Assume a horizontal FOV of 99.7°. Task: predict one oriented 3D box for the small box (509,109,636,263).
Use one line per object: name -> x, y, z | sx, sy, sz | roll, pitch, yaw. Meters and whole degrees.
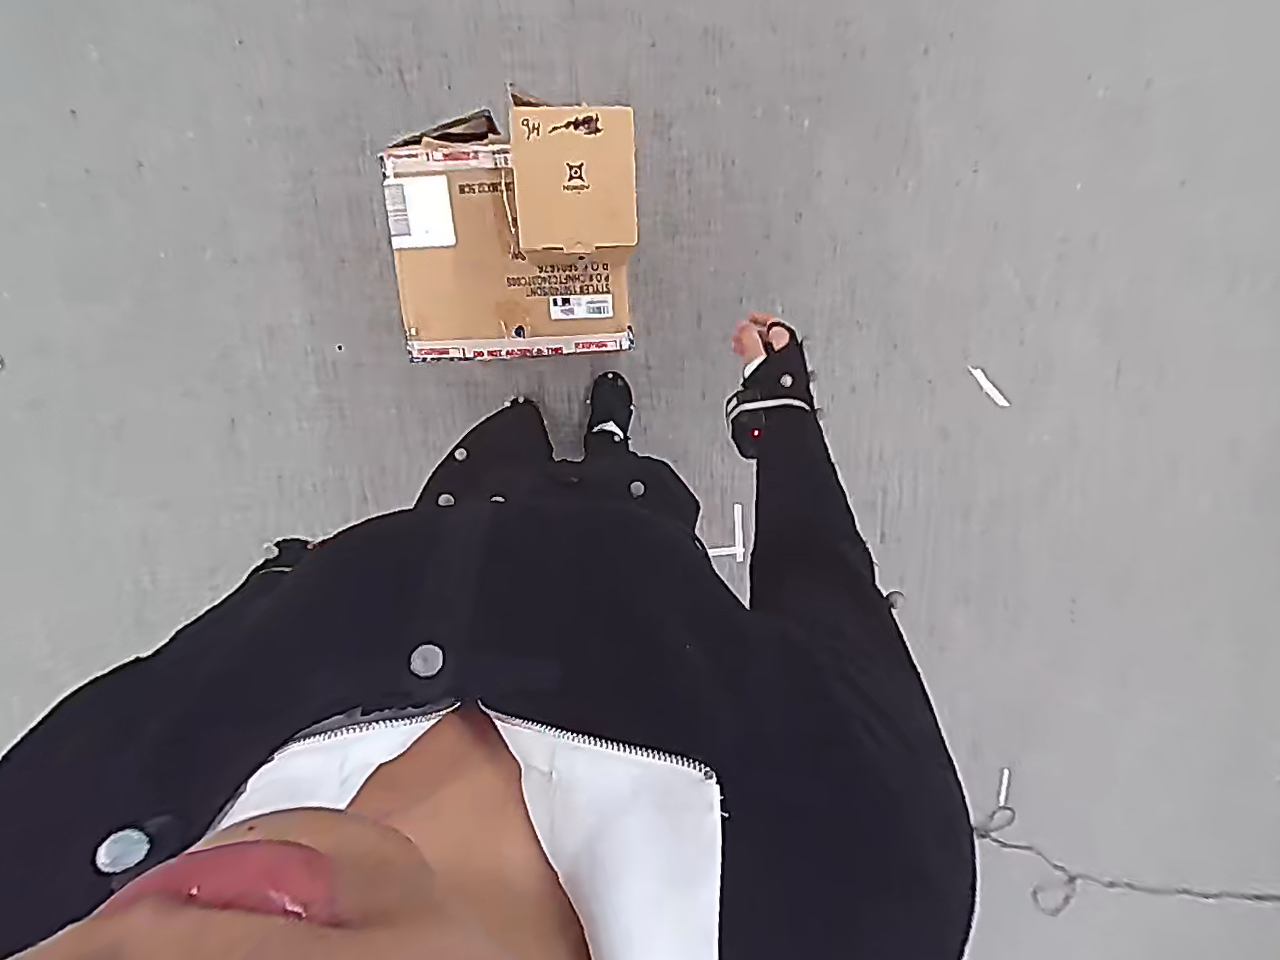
small box -> -0.093, -0.421, 0.803 | 0.168, 0.176, 0.179 | -3, 106, -4
